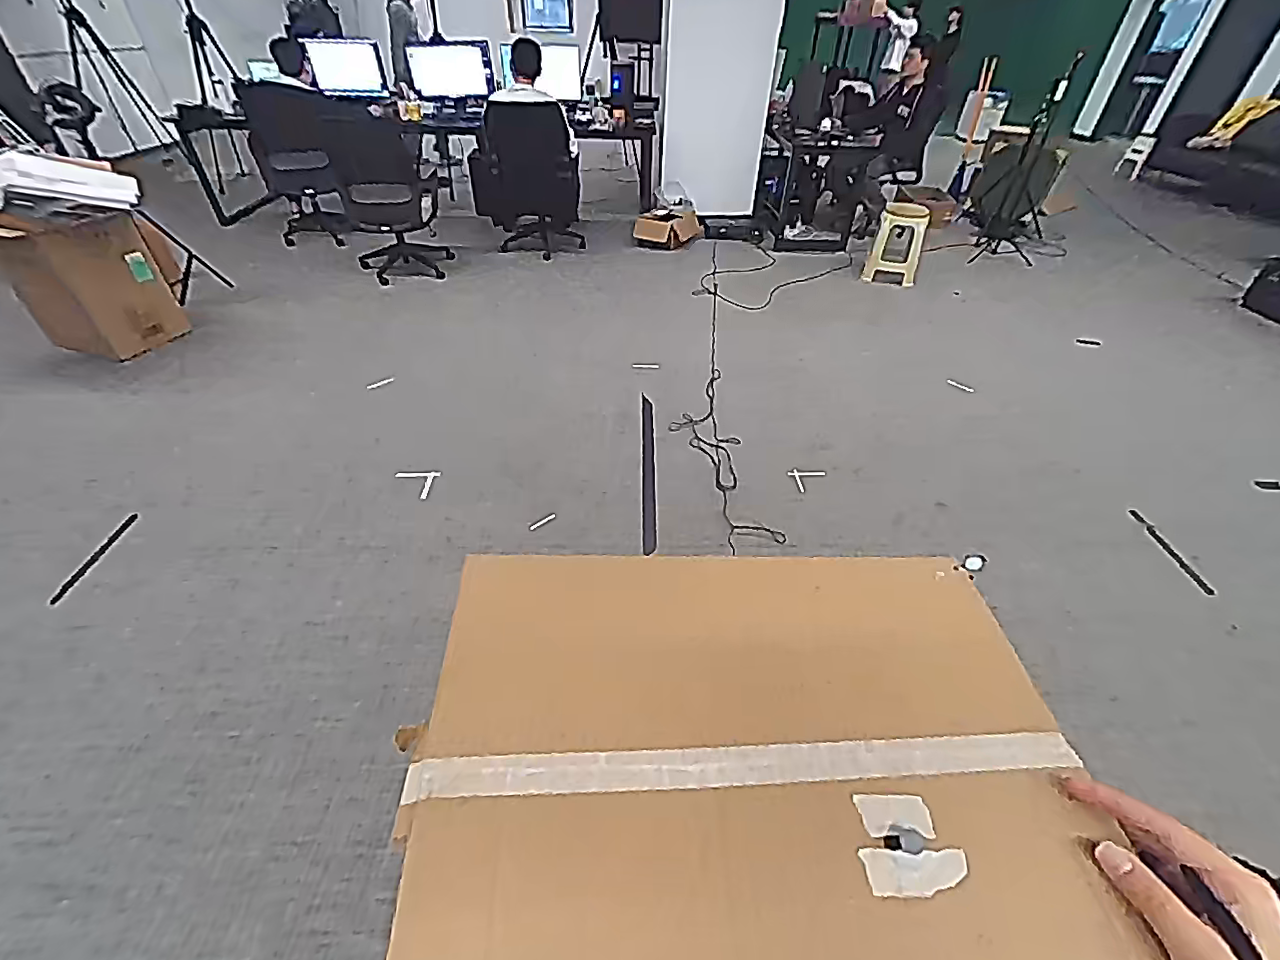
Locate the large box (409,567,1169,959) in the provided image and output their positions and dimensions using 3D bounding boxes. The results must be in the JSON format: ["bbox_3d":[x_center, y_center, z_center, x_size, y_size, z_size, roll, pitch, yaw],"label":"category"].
[{"bbox_3d":[0.062,0.286,0.441,0.408,0.320,0.320,1,46,-7],"label":"large box"}]
